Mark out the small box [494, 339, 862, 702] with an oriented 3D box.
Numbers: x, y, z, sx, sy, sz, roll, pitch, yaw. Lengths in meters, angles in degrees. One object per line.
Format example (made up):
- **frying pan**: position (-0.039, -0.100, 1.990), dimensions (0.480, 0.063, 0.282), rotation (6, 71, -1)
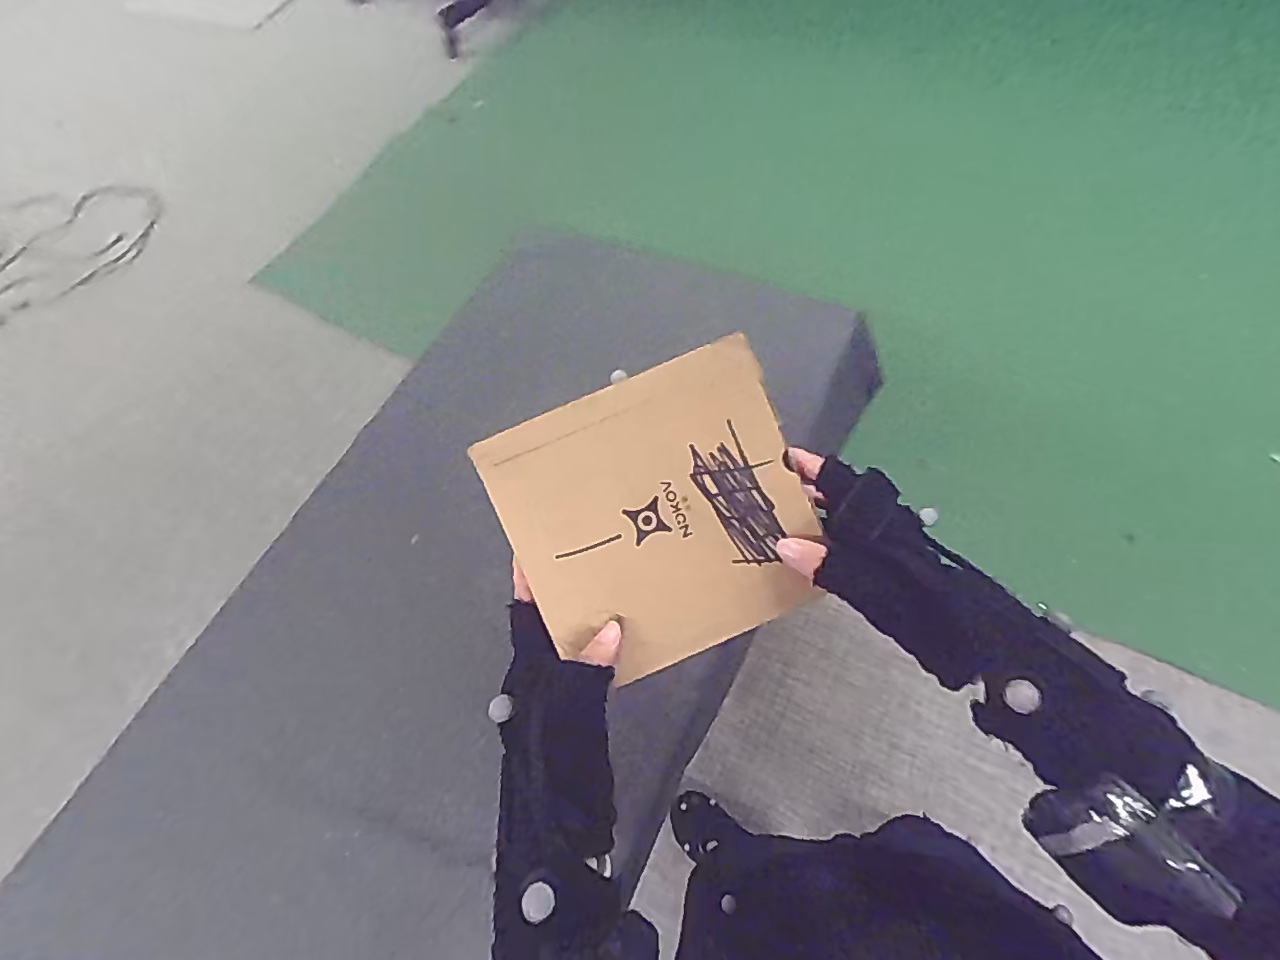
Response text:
- **small box**: position (0.019, 0.019, 0.396), dimensions (0.179, 0.176, 0.168), rotation (-25, 94, -2)
